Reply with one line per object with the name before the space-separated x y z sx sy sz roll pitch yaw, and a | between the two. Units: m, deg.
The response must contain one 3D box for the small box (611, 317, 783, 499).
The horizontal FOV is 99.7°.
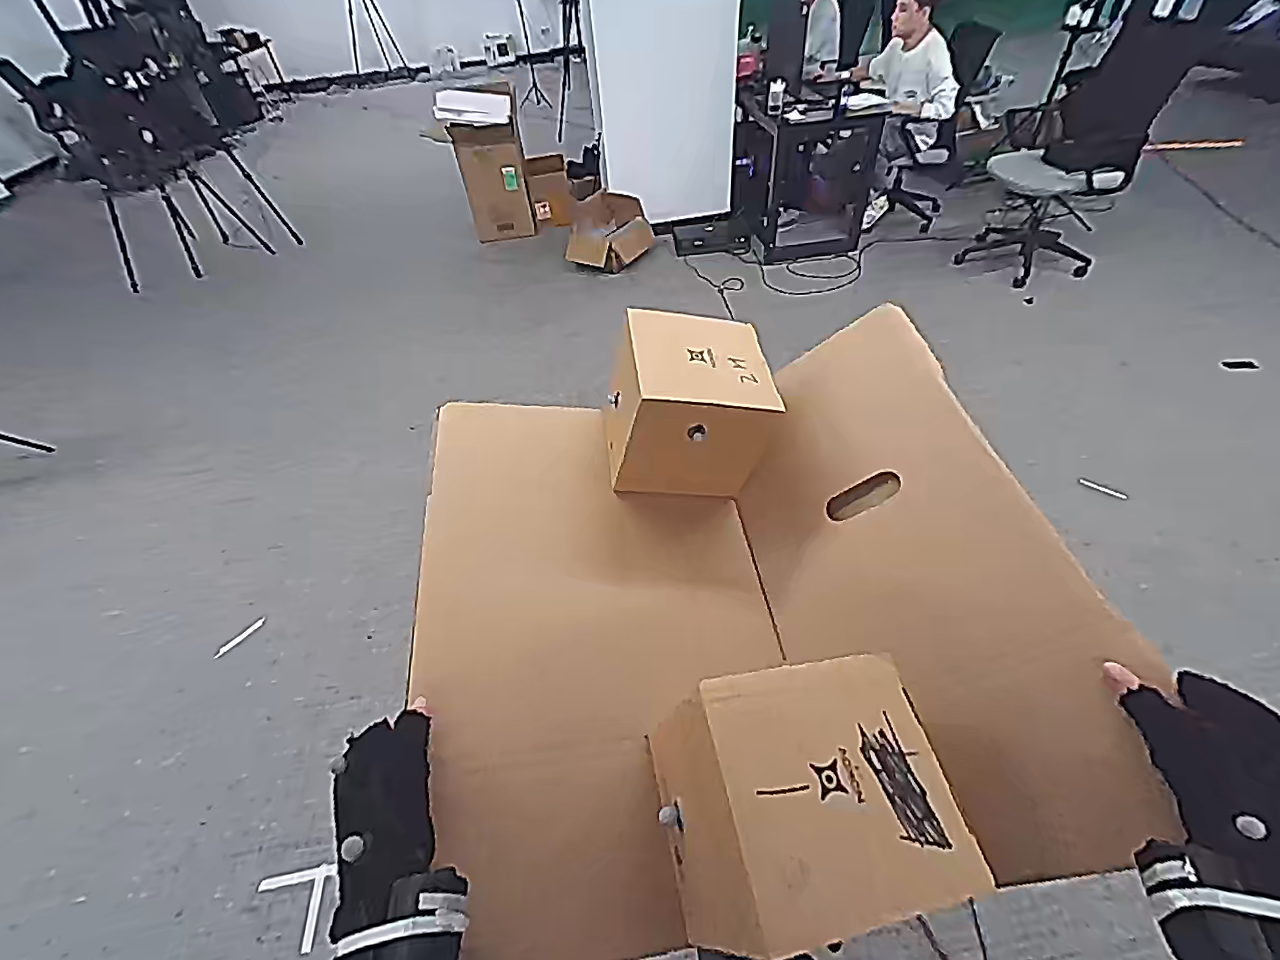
small box | 0.059 -0.089 0.718 0.179 0.176 0.168 4 51 -14
